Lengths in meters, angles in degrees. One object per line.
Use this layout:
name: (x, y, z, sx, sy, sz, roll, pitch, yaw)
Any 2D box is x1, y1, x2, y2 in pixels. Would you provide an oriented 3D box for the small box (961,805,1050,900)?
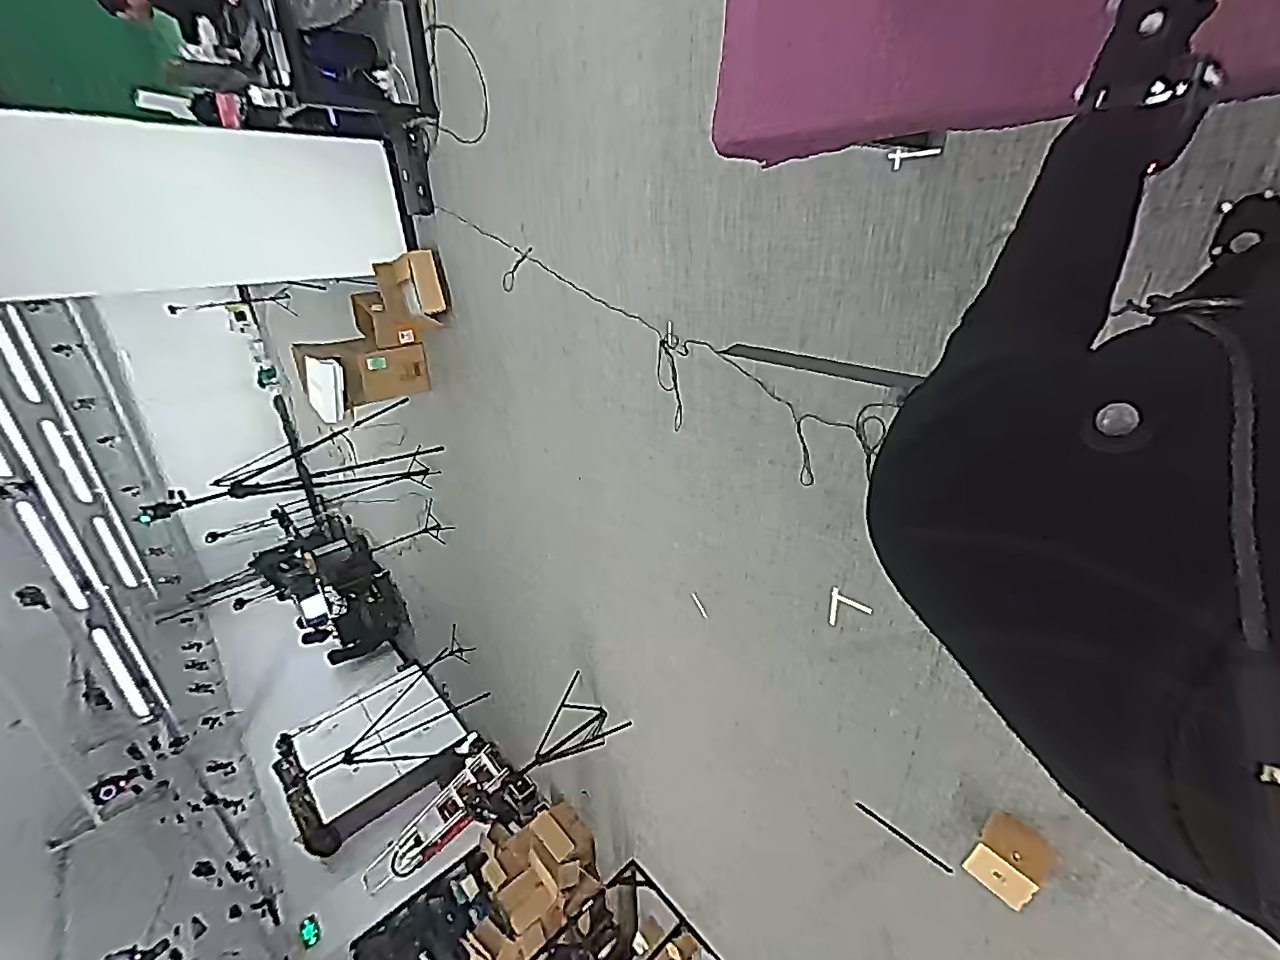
small box: (1.219, 1.230, 1.805, 0.179, 0.176, 0.168, 31, 130, 37)
